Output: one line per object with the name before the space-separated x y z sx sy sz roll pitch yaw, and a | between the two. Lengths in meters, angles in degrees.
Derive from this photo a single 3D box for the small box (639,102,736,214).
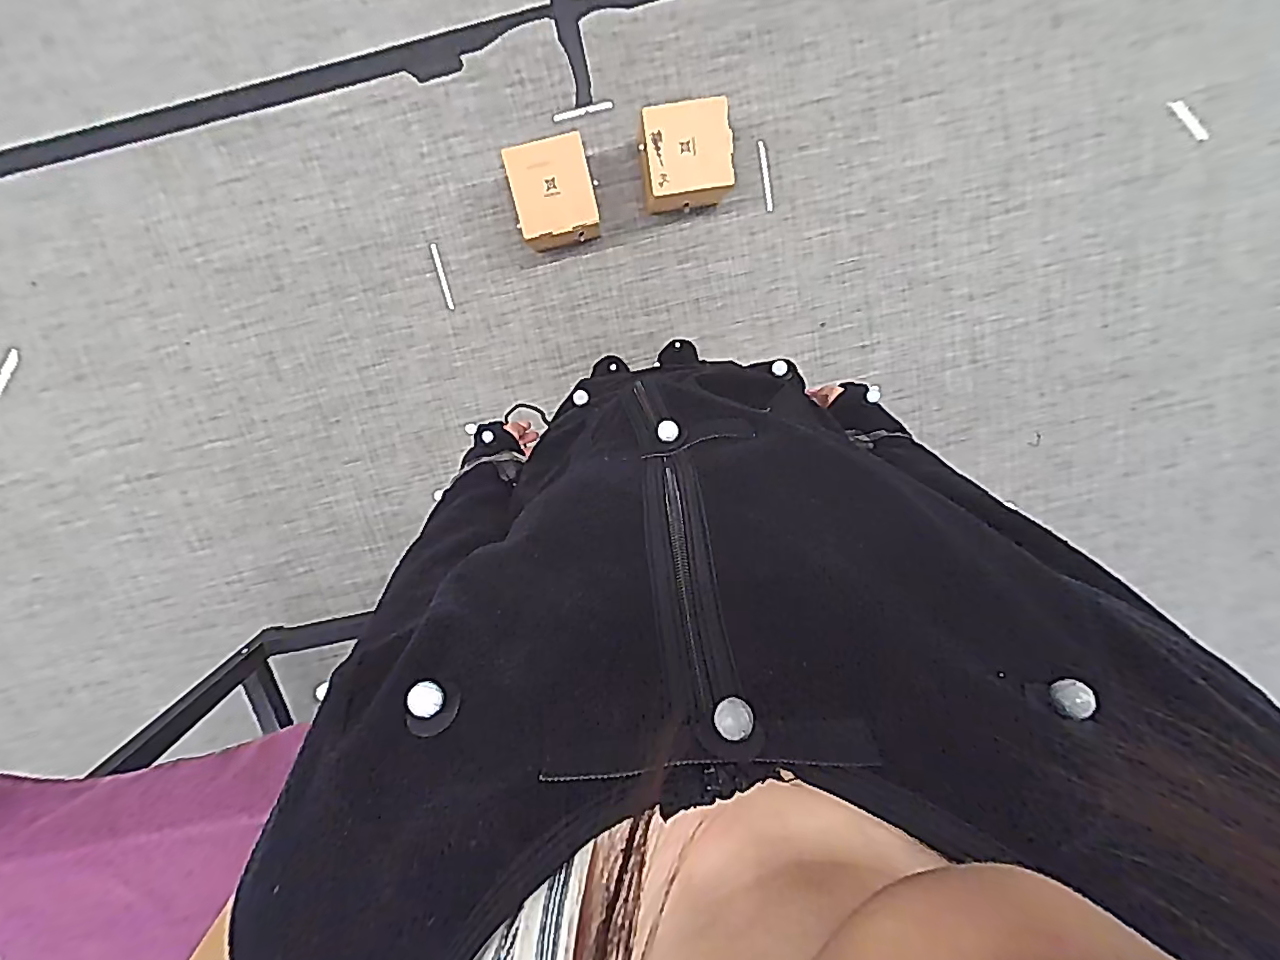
small box | 0.098 -0.692 1.177 0.179 0.176 0.168 -9 106 -2

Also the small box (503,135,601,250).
small box | -0.183 -0.615 1.182 0.168 0.176 0.179 -14 105 0
